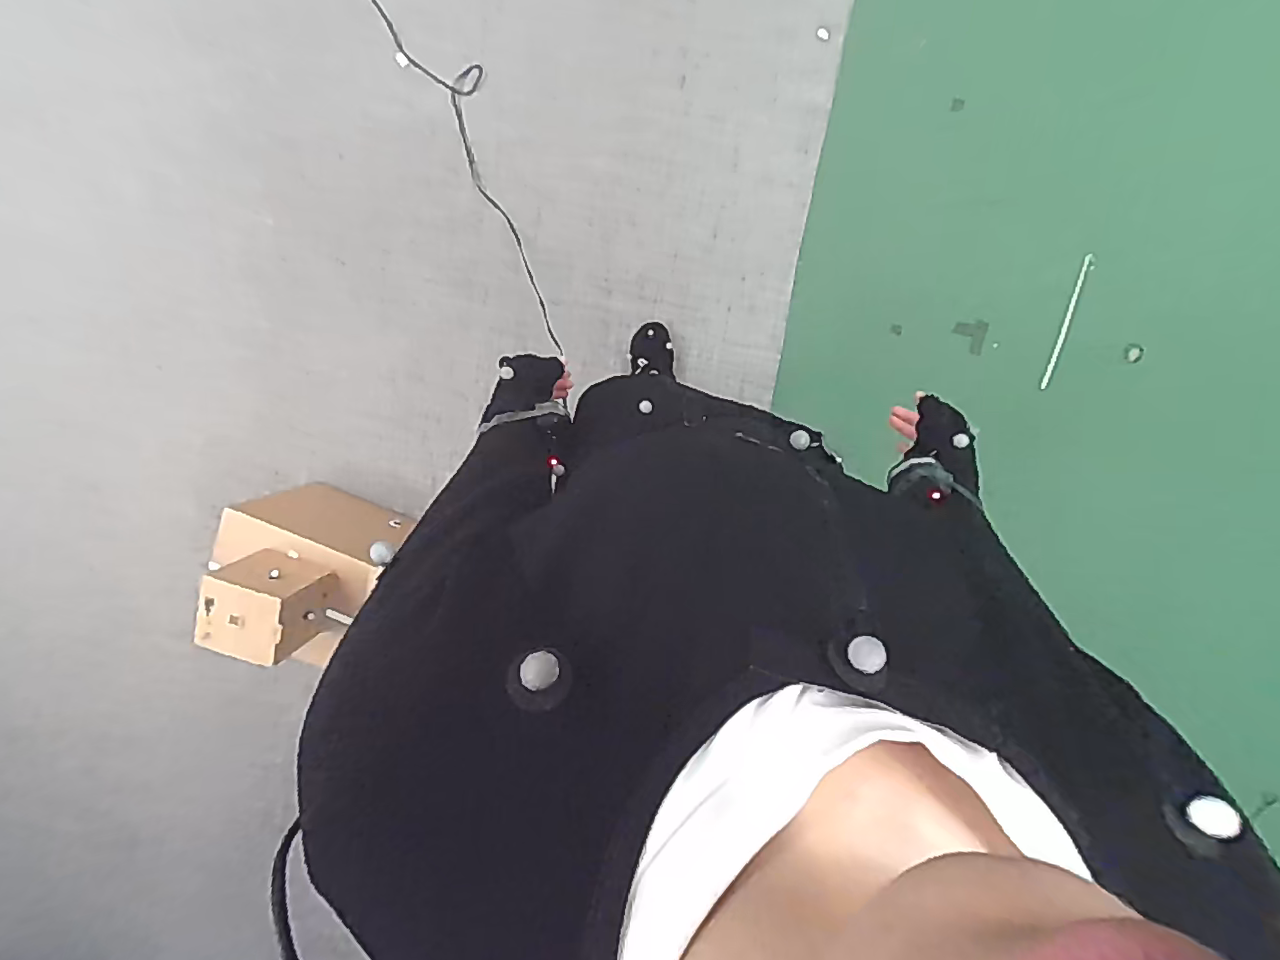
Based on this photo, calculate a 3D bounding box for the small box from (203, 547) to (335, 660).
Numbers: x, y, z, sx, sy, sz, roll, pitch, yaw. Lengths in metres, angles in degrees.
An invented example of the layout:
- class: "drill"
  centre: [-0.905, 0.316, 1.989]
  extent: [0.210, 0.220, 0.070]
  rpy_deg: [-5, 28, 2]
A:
- class: "small box"
  centre: [-0.815, 0.265, 1.203]
  extent: [0.179, 0.176, 0.168]
  rpy_deg: [17, 103, 0]
